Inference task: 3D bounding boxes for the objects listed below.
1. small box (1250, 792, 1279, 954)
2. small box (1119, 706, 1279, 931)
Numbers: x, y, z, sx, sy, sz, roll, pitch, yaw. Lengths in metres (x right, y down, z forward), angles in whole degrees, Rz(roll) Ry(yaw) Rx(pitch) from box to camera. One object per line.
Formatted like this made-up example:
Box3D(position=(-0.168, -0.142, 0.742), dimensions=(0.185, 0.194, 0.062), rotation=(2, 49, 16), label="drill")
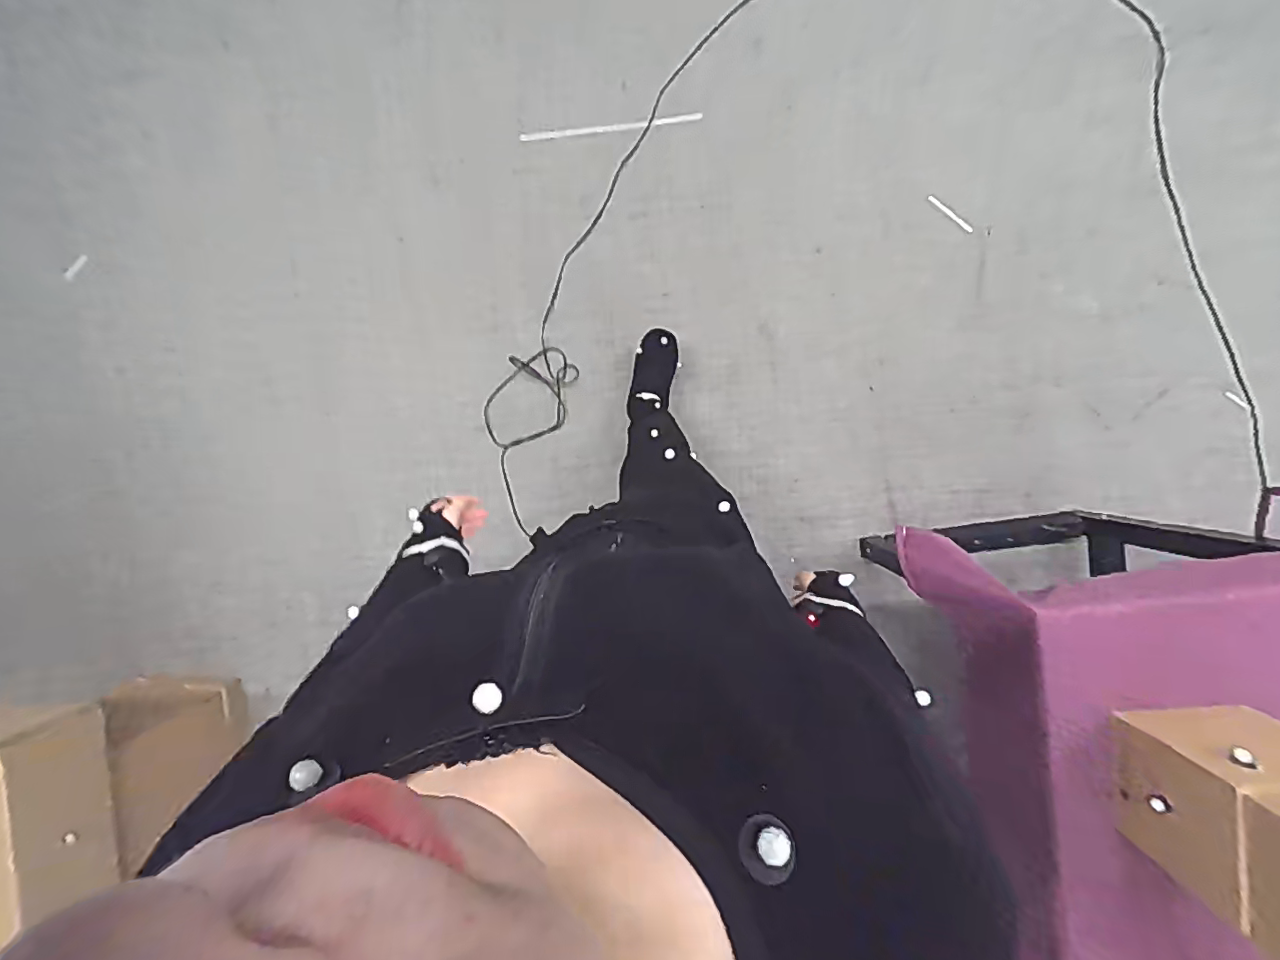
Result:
Box3D(position=(0.718, 0.407, 0.486), dimensions=(0.168, 0.176, 0.179), rotation=(-6, 94, 5), label="small box")
Box3D(position=(0.726, 0.391, 0.648), dimensions=(0.179, 0.176, 0.168), rotation=(-4, 94, 3), label="small box")
